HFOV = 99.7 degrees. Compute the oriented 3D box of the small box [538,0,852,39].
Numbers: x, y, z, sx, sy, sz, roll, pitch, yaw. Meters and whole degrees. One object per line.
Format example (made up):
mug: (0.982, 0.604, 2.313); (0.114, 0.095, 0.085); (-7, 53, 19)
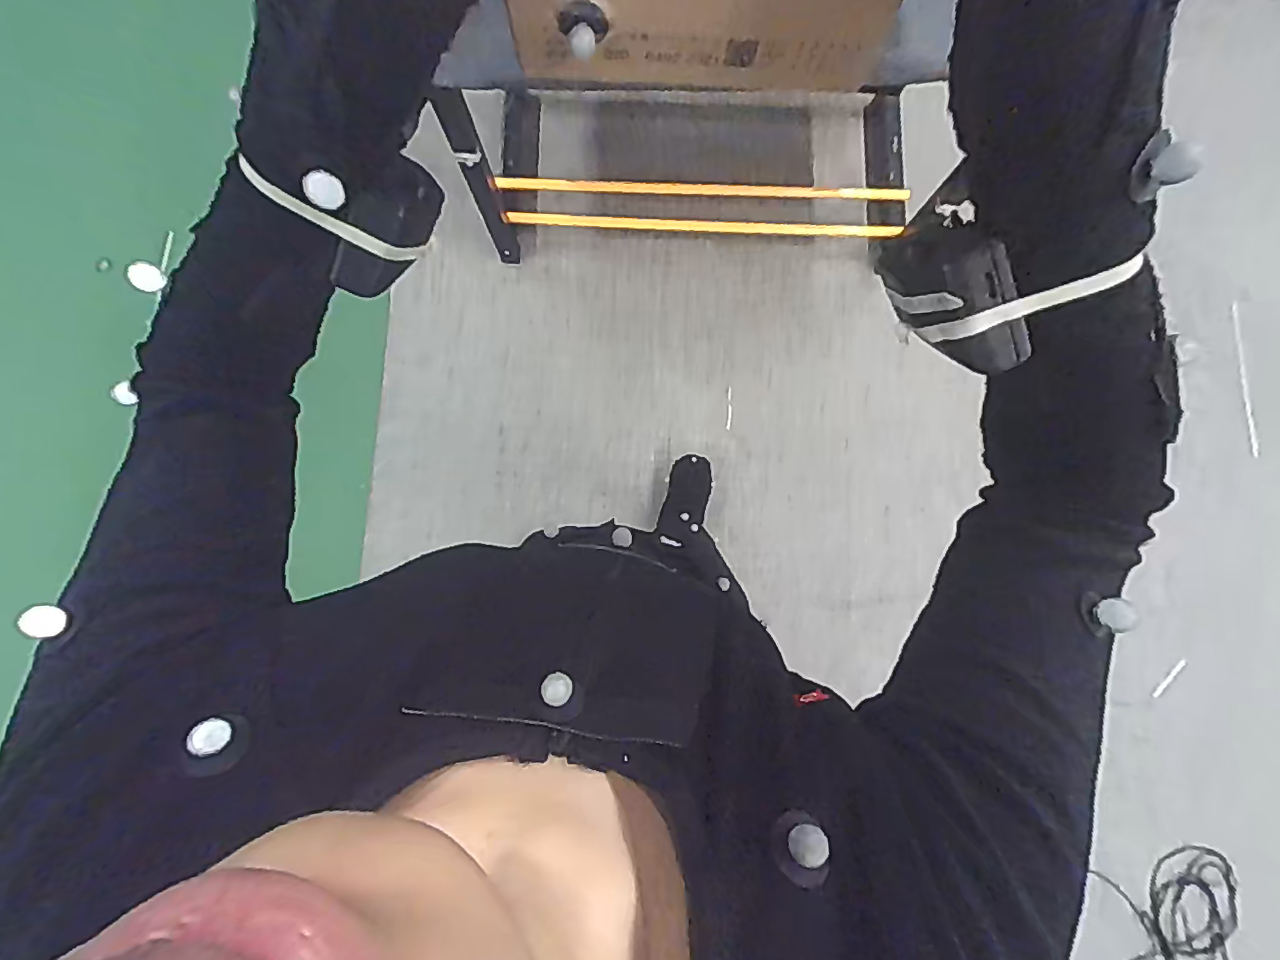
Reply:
small box: (0.021, -0.302, 0.187); (0.168, 0.176, 0.179); (2, 84, -1)
